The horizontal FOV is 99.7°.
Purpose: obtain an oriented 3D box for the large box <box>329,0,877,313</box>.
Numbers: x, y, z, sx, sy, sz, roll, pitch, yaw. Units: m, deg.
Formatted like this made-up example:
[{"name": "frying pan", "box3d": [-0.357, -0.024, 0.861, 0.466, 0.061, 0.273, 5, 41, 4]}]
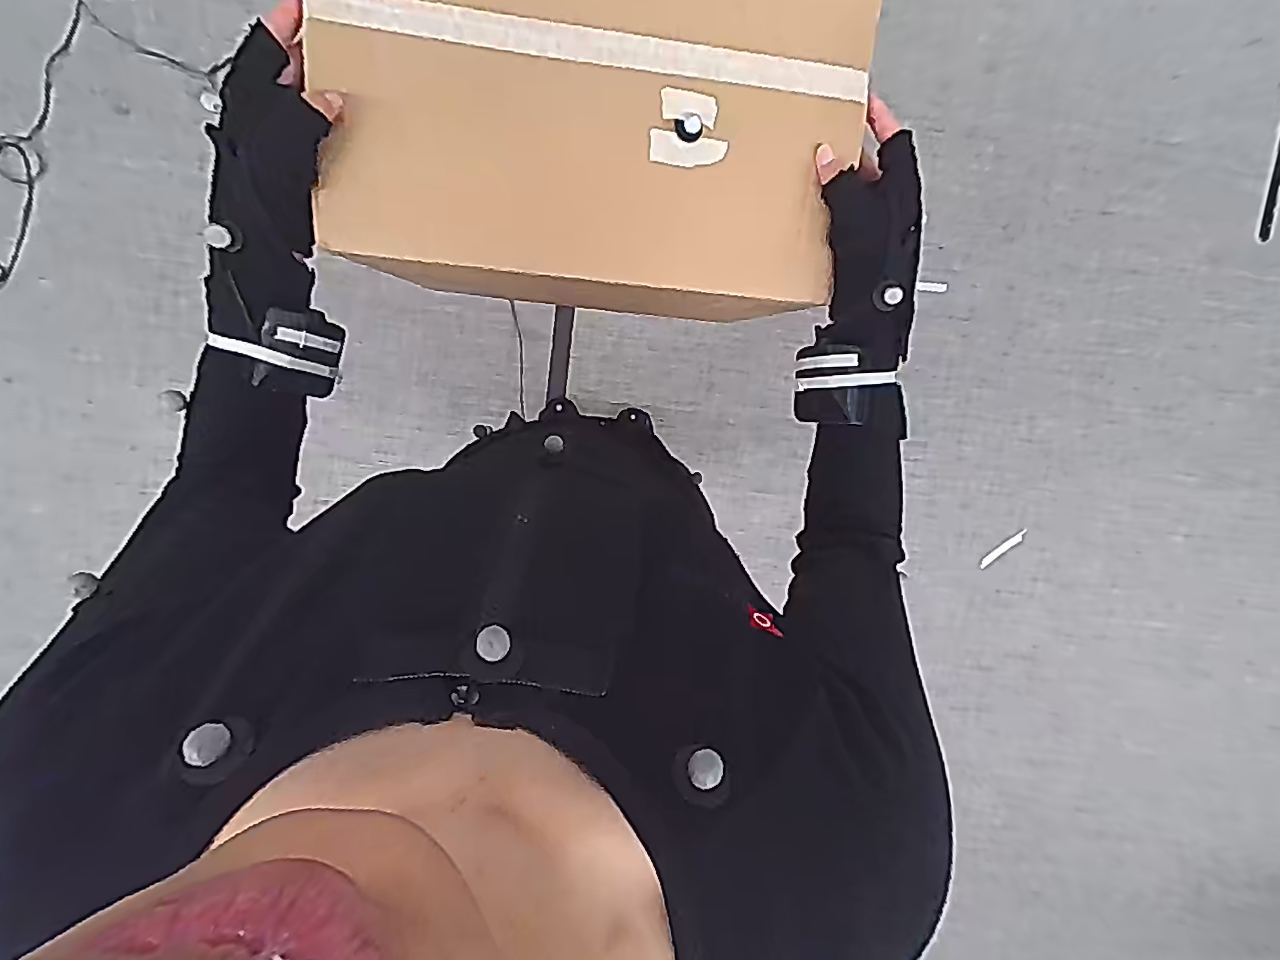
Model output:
[{"name": "large box", "box3d": [-0.039, -0.351, 0.545, 0.408, 0.320, 0.320, 3, 104, -8]}]
